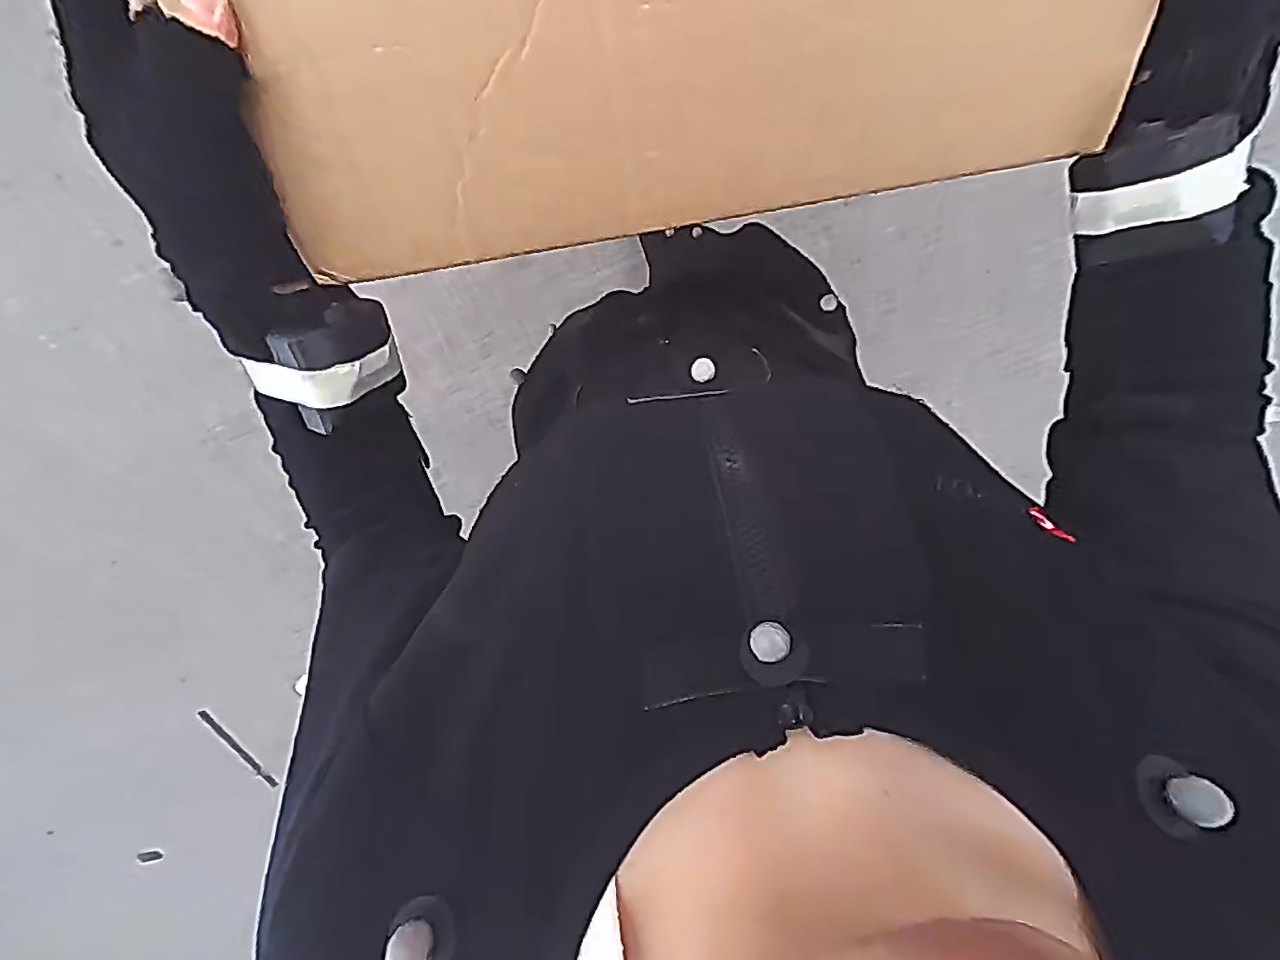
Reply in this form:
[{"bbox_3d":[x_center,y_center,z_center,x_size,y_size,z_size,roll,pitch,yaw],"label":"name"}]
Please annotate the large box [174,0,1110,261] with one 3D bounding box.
[{"bbox_3d":[-0.009,-0.360,0.288,0.408,0.320,0.320,-9,132,1],"label":"large box"}]
